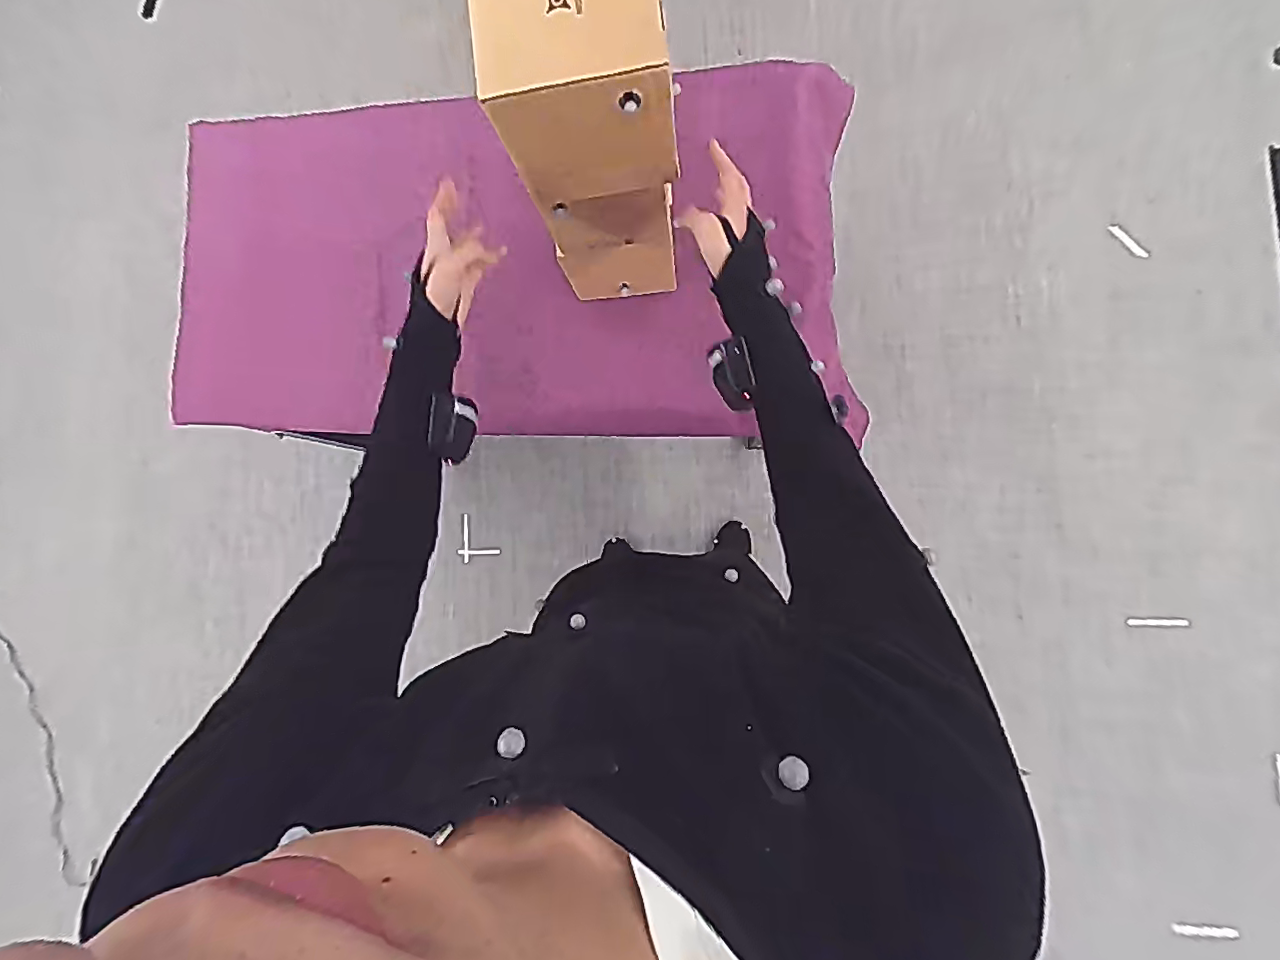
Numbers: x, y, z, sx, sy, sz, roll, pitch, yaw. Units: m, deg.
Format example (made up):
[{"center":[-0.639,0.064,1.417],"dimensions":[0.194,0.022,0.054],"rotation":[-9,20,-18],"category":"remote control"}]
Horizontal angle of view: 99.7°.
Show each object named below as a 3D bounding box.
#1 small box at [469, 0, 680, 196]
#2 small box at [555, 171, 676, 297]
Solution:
[{"center":[-0.057,-0.420,0.551],"dimensions":[0.179,0.176,0.168],"rotation":[-7,85,5],"category":"small box"},{"center":[-0.033,-0.413,0.878],"dimensions":[0.179,0.176,0.168],"rotation":[-4,85,5],"category":"small box"}]
